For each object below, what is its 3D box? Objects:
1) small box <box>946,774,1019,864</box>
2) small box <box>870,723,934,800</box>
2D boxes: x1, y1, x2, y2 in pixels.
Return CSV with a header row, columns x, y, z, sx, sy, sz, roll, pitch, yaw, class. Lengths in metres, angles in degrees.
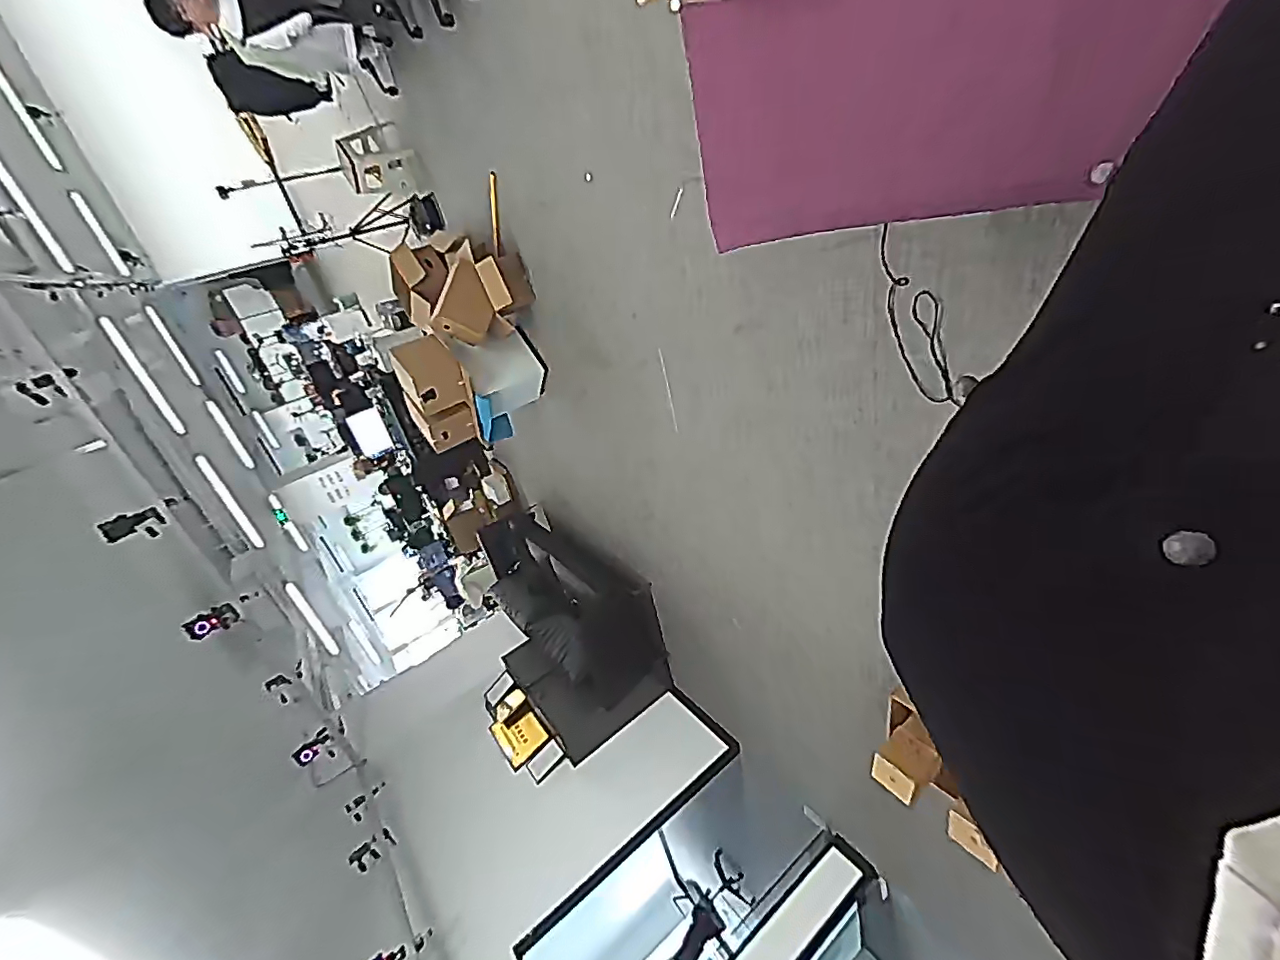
x,y,z,sx,sy,sz,roll,pitch,yaw,class
1.223,1.205,1.931,0.168,0.176,0.179,24,137,49,small box
1.047,1.122,2.160,0.168,0.176,0.179,31,141,45,small box
